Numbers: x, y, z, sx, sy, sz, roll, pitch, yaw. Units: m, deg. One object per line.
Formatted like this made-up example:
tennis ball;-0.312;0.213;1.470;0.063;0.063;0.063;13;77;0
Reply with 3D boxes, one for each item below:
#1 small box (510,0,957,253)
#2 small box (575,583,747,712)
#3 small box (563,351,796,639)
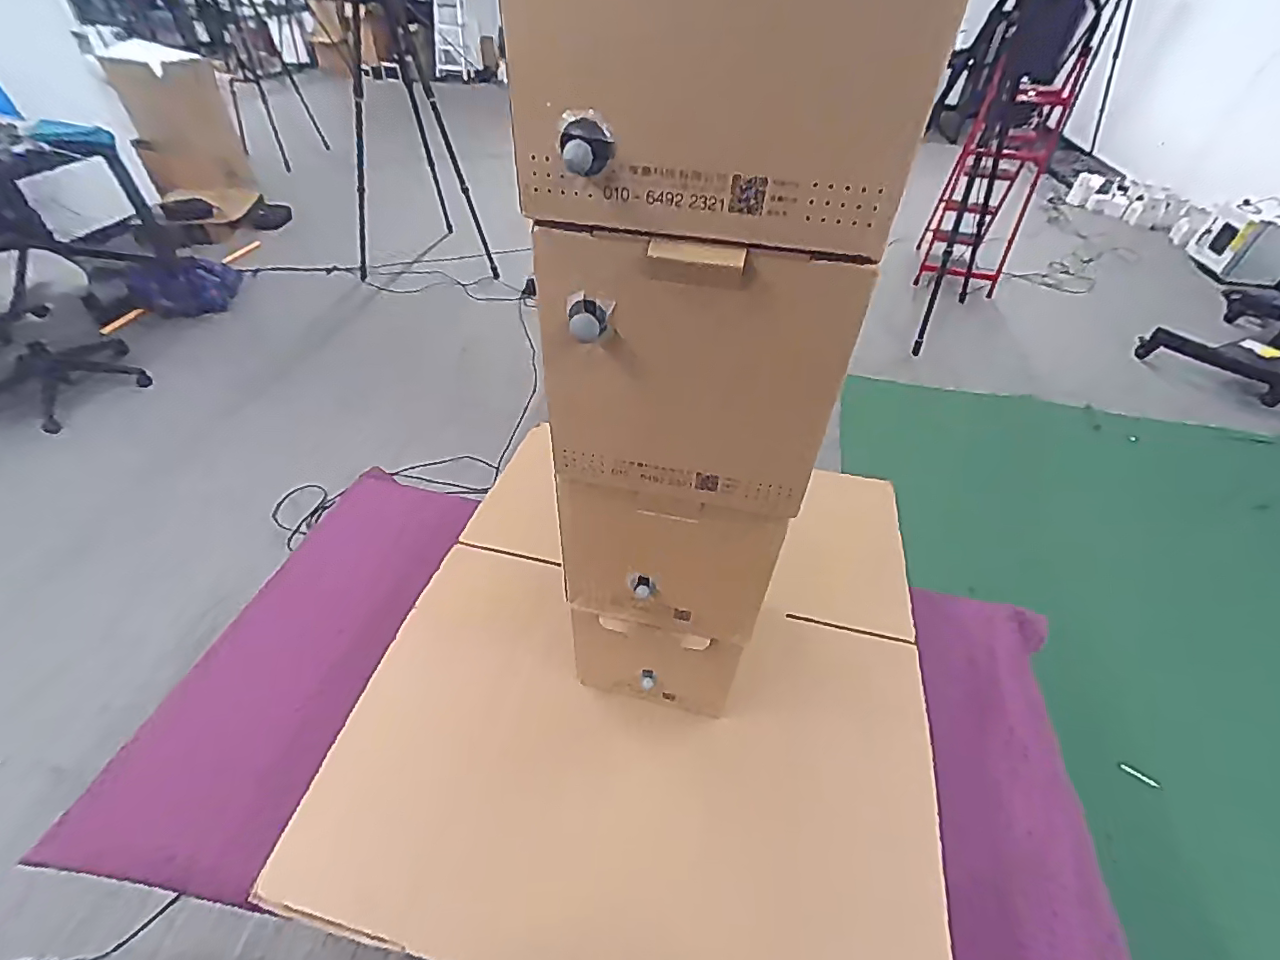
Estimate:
small box;0.046;-0.222;0.252;0.168;0.176;0.179;10;43;7
small box;0.034;0.124;0.602;0.168;0.176;0.179;11;44;9
small box;0.037;0.011;0.485;0.168;0.176;0.179;10;45;7
